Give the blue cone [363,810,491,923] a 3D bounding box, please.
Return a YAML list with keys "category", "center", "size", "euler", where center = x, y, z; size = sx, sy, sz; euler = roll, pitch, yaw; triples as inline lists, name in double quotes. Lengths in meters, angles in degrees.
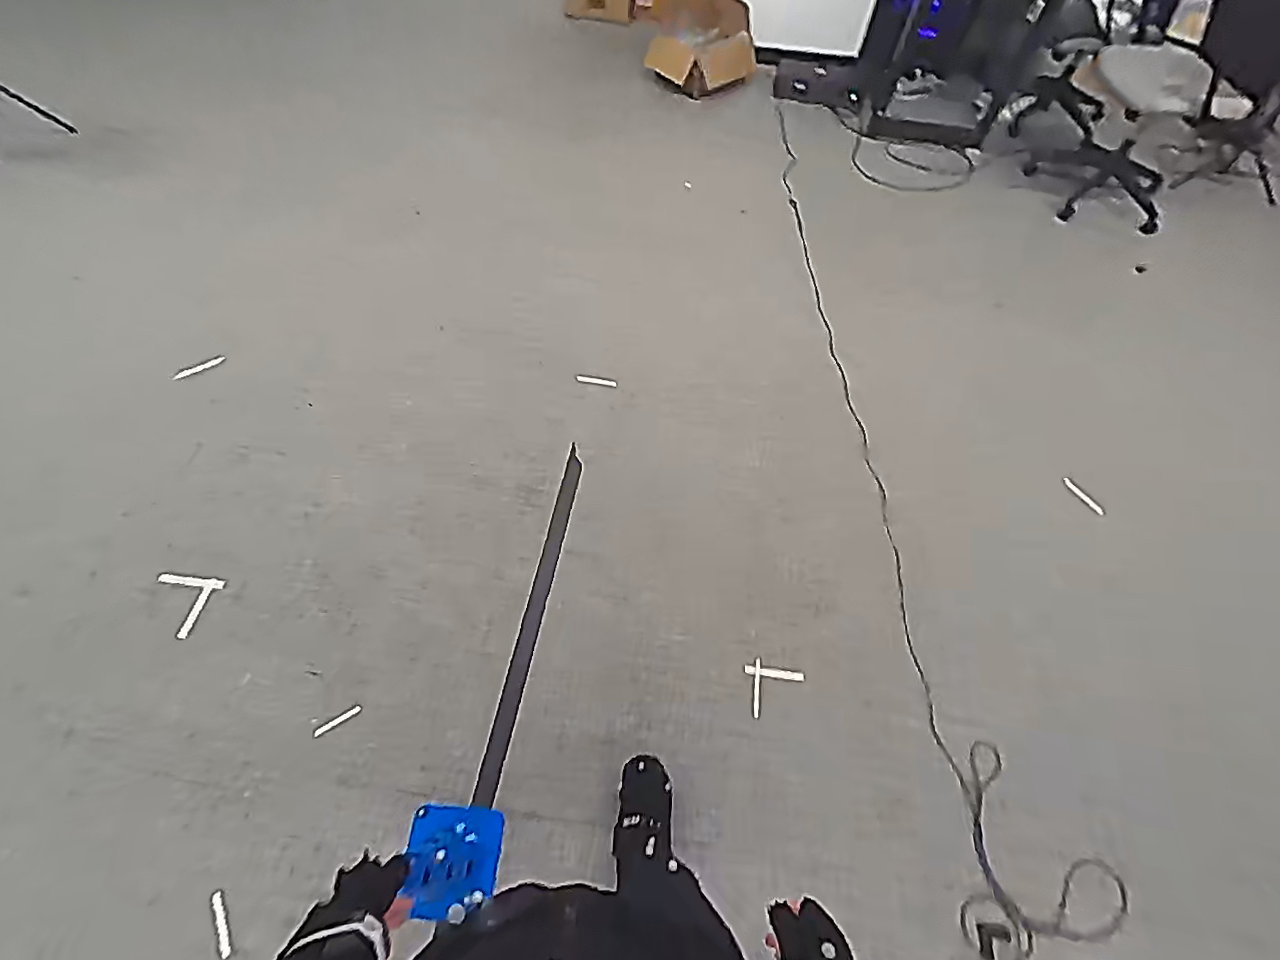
- category: "blue cone"
  center: [-0.416, 0.729, 1.008]
  size: [0.192, 0.380, 0.193]
  euler: [6, 58, 1]
